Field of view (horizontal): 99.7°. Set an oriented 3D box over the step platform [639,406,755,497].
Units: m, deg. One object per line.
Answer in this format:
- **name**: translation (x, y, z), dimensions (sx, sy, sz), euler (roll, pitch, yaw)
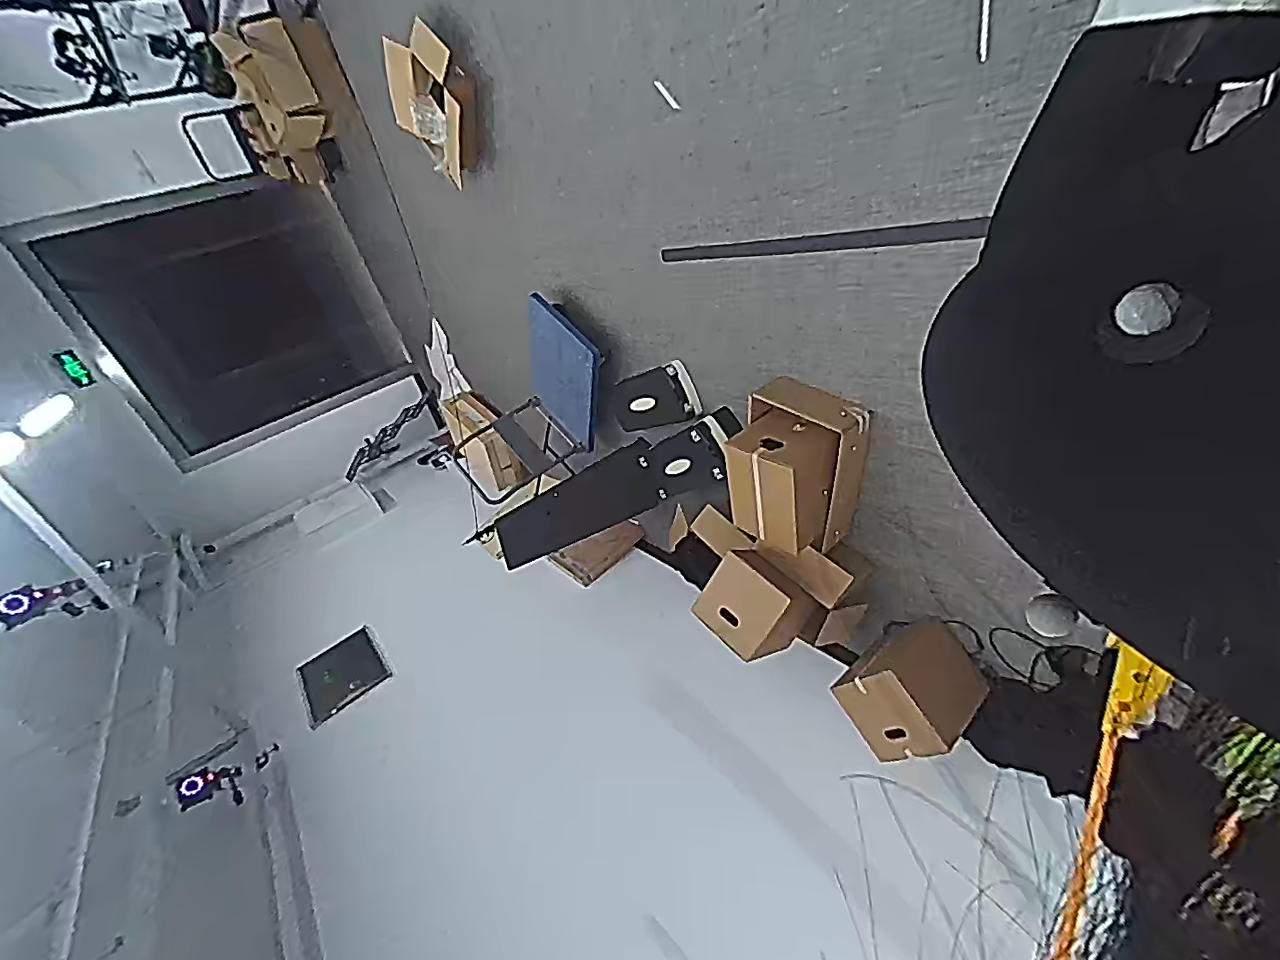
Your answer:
- **step platform**: translation (0.250, -0.119, 2.660), dimensions (0.286, 0.204, 0.684), euler (58, 153, -4)
